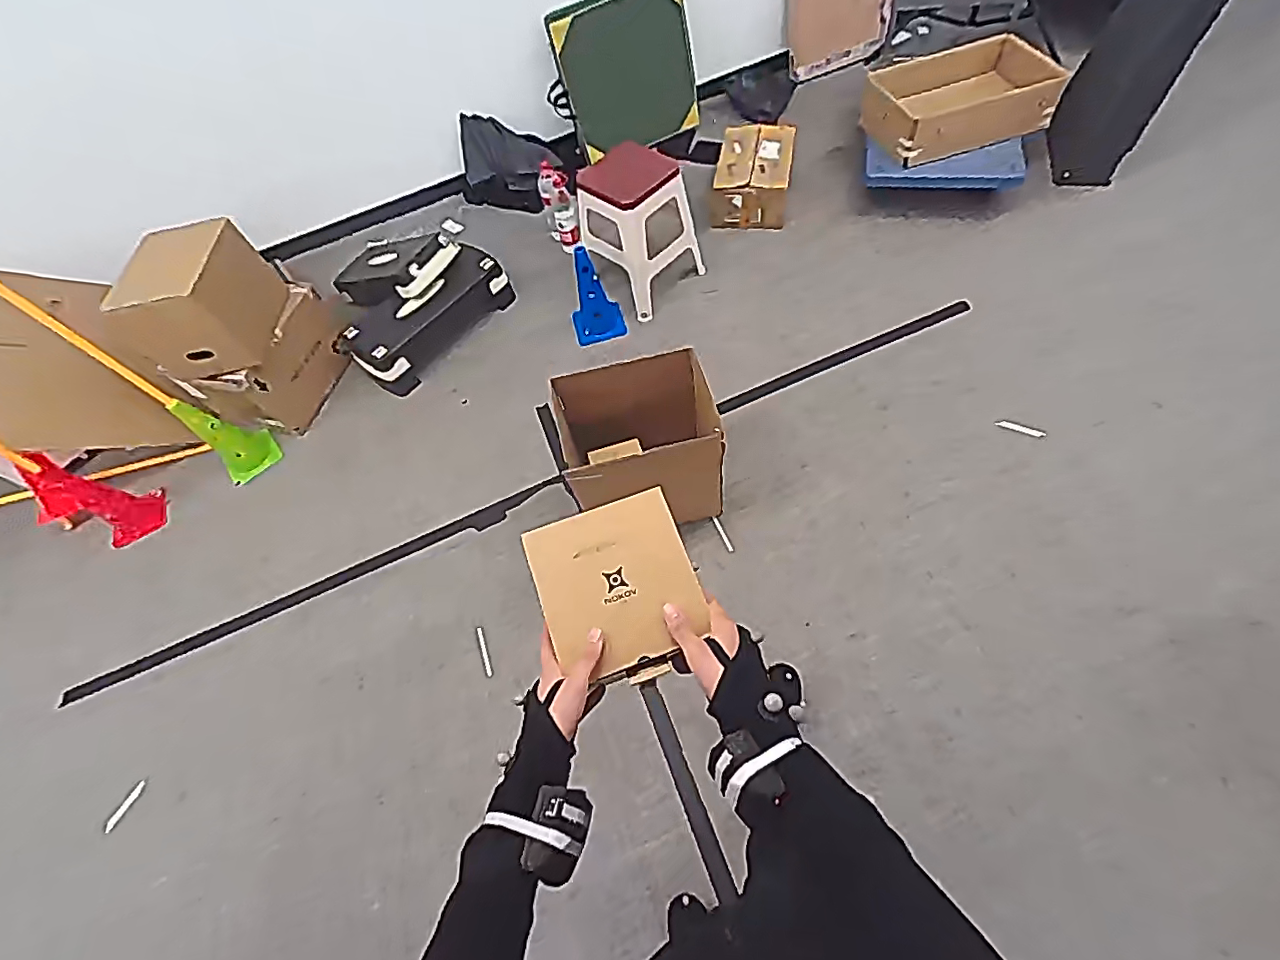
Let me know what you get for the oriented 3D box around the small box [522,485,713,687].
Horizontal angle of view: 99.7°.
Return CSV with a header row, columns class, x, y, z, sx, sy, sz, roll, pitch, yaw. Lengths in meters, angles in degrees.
class,x,y,z,sx,sy,sz,roll,pitch,yaw
small box,-0.026,0.134,0.648,0.168,0.176,0.179,-18,69,-8
